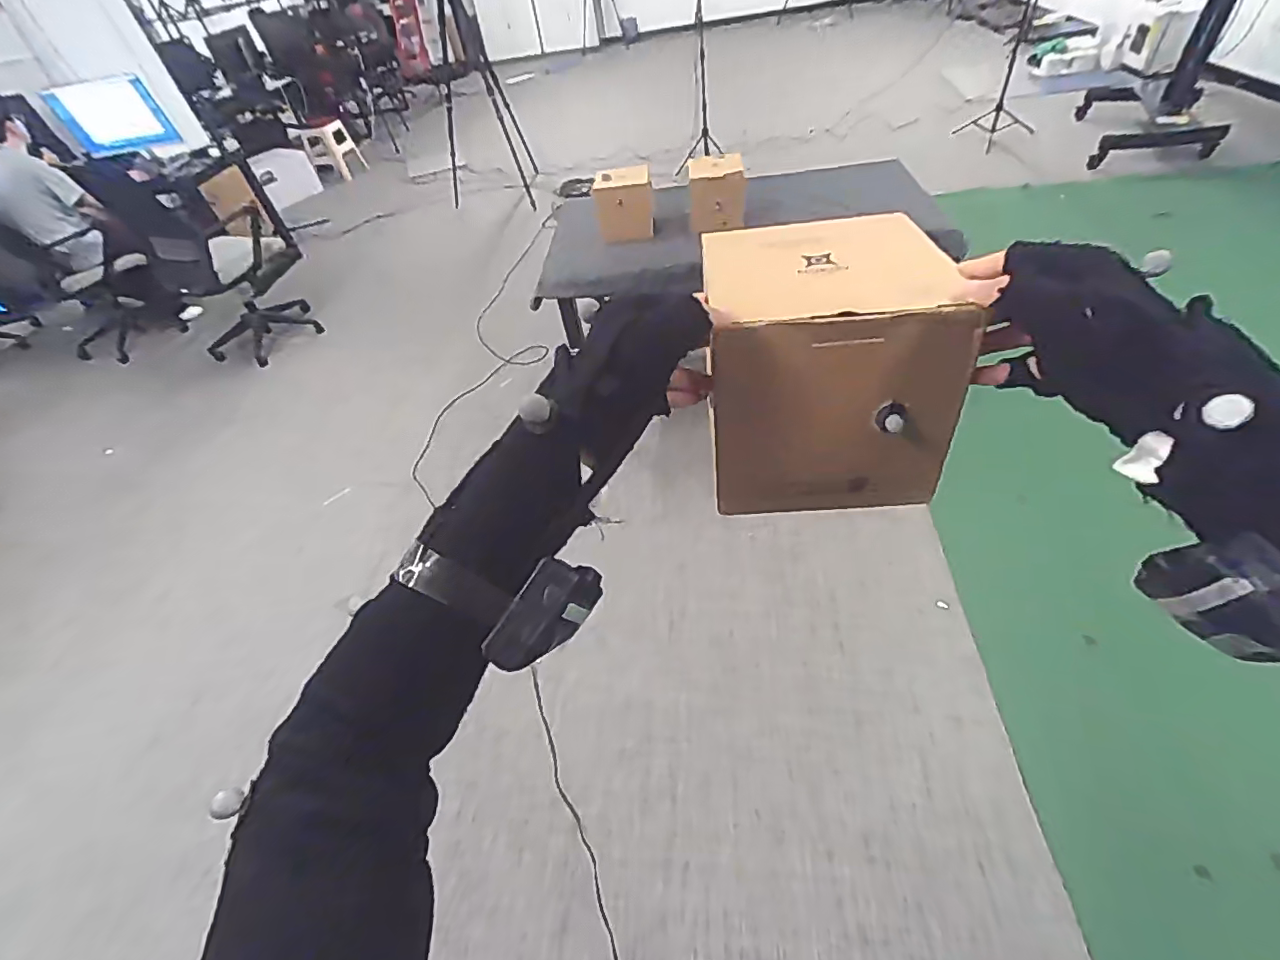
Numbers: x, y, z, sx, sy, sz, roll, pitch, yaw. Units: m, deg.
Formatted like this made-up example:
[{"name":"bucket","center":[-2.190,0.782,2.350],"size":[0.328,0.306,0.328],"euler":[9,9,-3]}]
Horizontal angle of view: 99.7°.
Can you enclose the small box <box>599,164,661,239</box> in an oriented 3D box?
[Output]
[{"name":"small box","center":[-0.028,-0.904,1.764],"size":[0.179,0.176,0.168],"euler":[-3,47,6]}]

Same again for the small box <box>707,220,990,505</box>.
[{"name":"small box","center":[0.142,-0.091,0.442],"size":[0.168,0.176,0.179],"euler":[-2,40,6]}]

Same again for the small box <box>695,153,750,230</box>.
[{"name":"small box","center":[0.262,-0.914,1.723],"size":[0.168,0.176,0.179],"euler":[-2,48,8]}]
